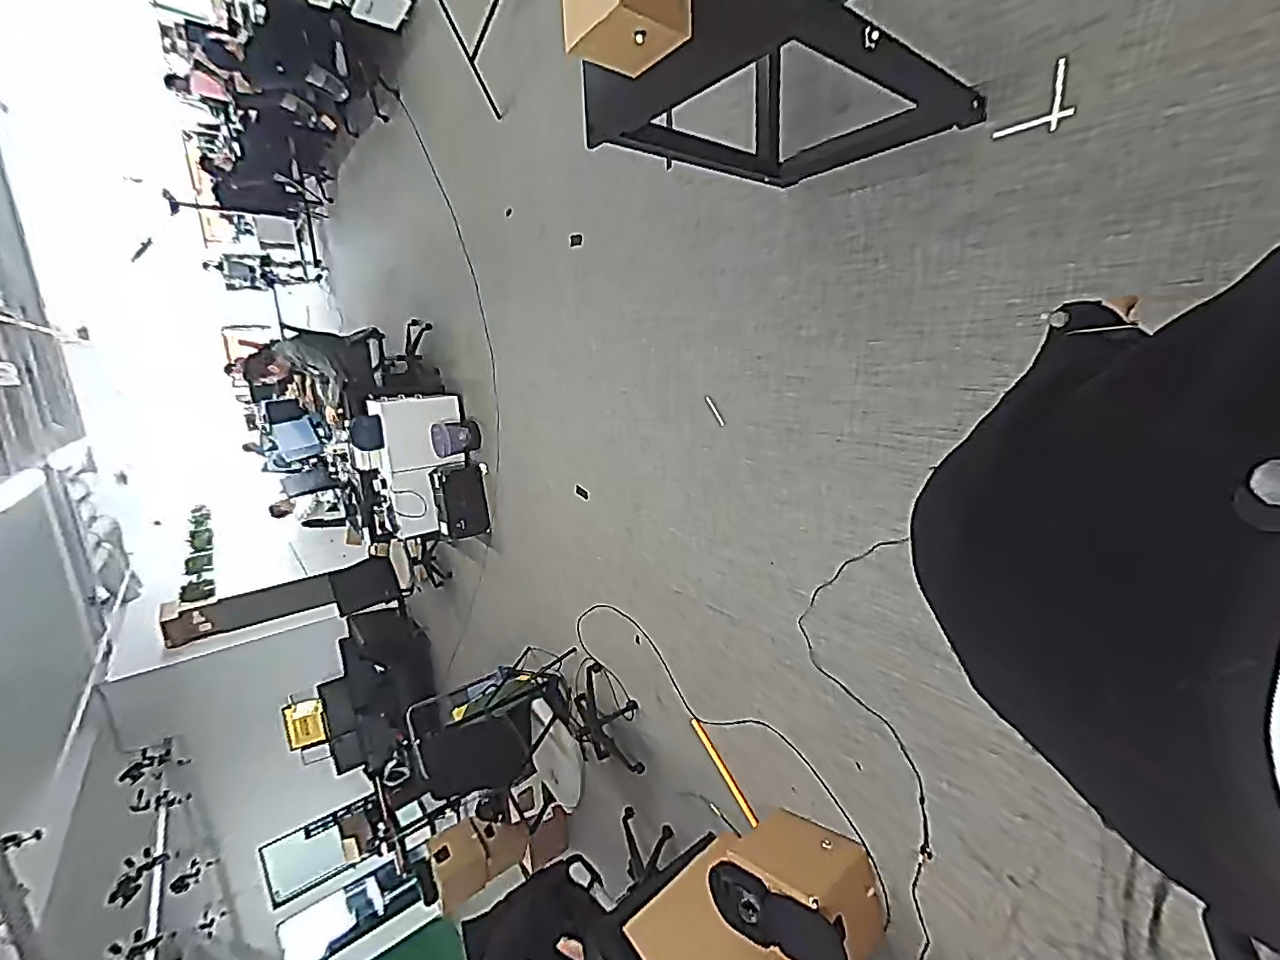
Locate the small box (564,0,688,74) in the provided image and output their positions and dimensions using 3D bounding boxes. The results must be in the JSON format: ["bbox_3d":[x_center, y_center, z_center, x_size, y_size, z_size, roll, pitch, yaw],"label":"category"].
[{"bbox_3d":[-0.024,-0.892,0.992,0.179,0.176,0.168,12,108,51],"label":"small box"}]
